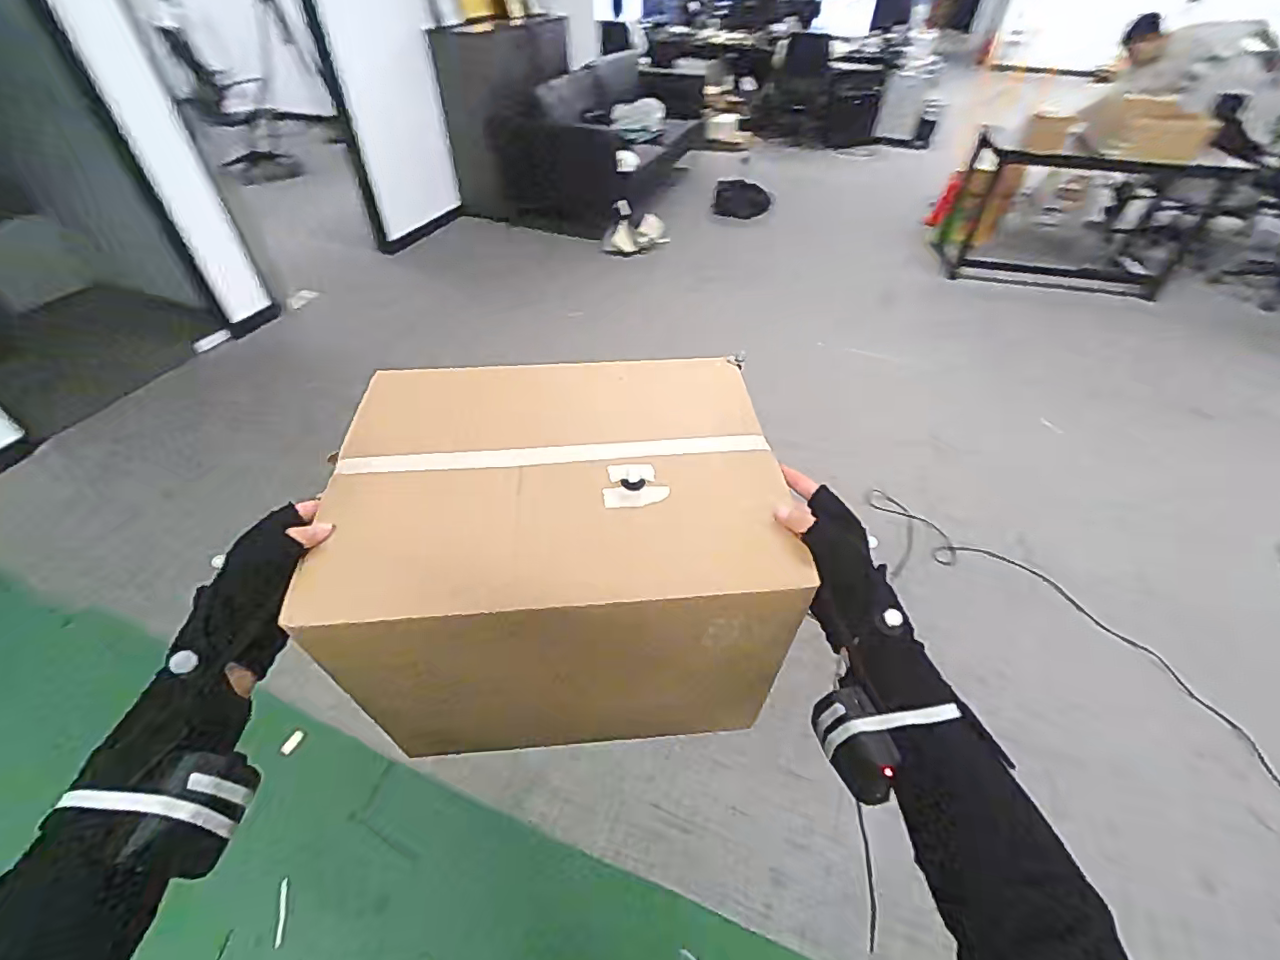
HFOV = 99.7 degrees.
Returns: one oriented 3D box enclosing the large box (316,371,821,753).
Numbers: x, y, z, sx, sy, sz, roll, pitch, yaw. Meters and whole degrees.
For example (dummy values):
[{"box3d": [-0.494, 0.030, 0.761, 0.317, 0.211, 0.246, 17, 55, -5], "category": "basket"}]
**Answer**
[{"box3d": [-0.068, 0.092, 0.629, 0.408, 0.320, 0.320, -2, 47, -5], "category": "large box"}]
